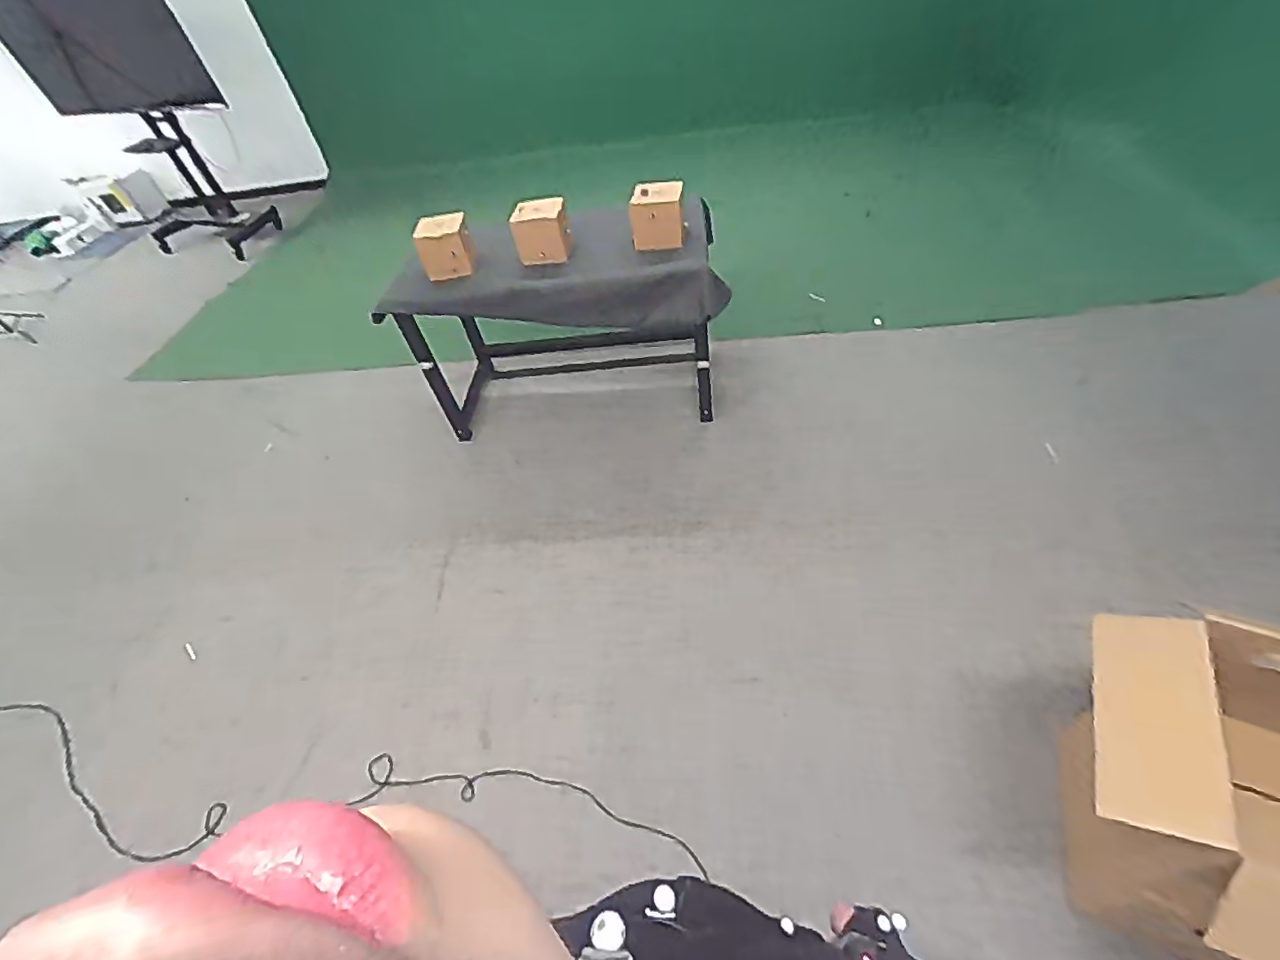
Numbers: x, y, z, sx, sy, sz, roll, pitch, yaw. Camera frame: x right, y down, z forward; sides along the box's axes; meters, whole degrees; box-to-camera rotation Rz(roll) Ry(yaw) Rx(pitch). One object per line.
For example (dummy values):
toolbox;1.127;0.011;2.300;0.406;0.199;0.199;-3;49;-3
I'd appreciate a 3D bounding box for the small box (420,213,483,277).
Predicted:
small box;-0.705;-0.883;2.046;0.168;0.176;0.179;-8;46;1

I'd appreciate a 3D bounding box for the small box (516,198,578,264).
small box;-0.340;-0.928;2.018;0.179;0.176;0.168;-1;48;9

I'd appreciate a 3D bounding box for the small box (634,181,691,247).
small box;0.088;-0.963;1.967;0.179;0.176;0.168;2;49;12
